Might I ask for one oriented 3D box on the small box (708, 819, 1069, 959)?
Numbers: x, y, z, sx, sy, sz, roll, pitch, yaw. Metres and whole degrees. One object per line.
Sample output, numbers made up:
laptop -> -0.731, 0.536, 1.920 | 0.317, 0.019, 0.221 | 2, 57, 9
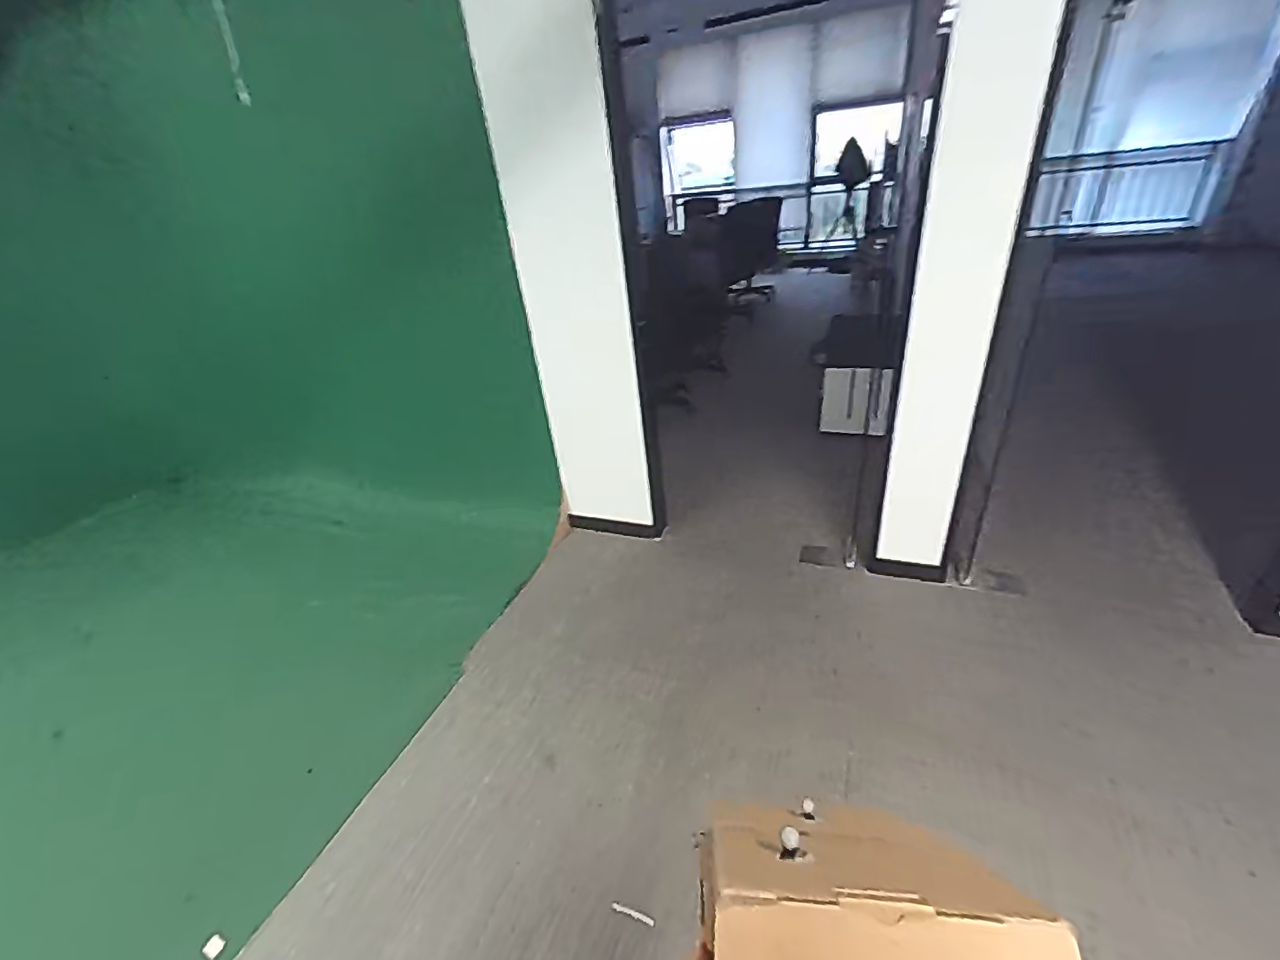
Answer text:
small box -> 0.123, 0.311, 0.308 | 0.168, 0.176, 0.179 | -1, 68, 7
